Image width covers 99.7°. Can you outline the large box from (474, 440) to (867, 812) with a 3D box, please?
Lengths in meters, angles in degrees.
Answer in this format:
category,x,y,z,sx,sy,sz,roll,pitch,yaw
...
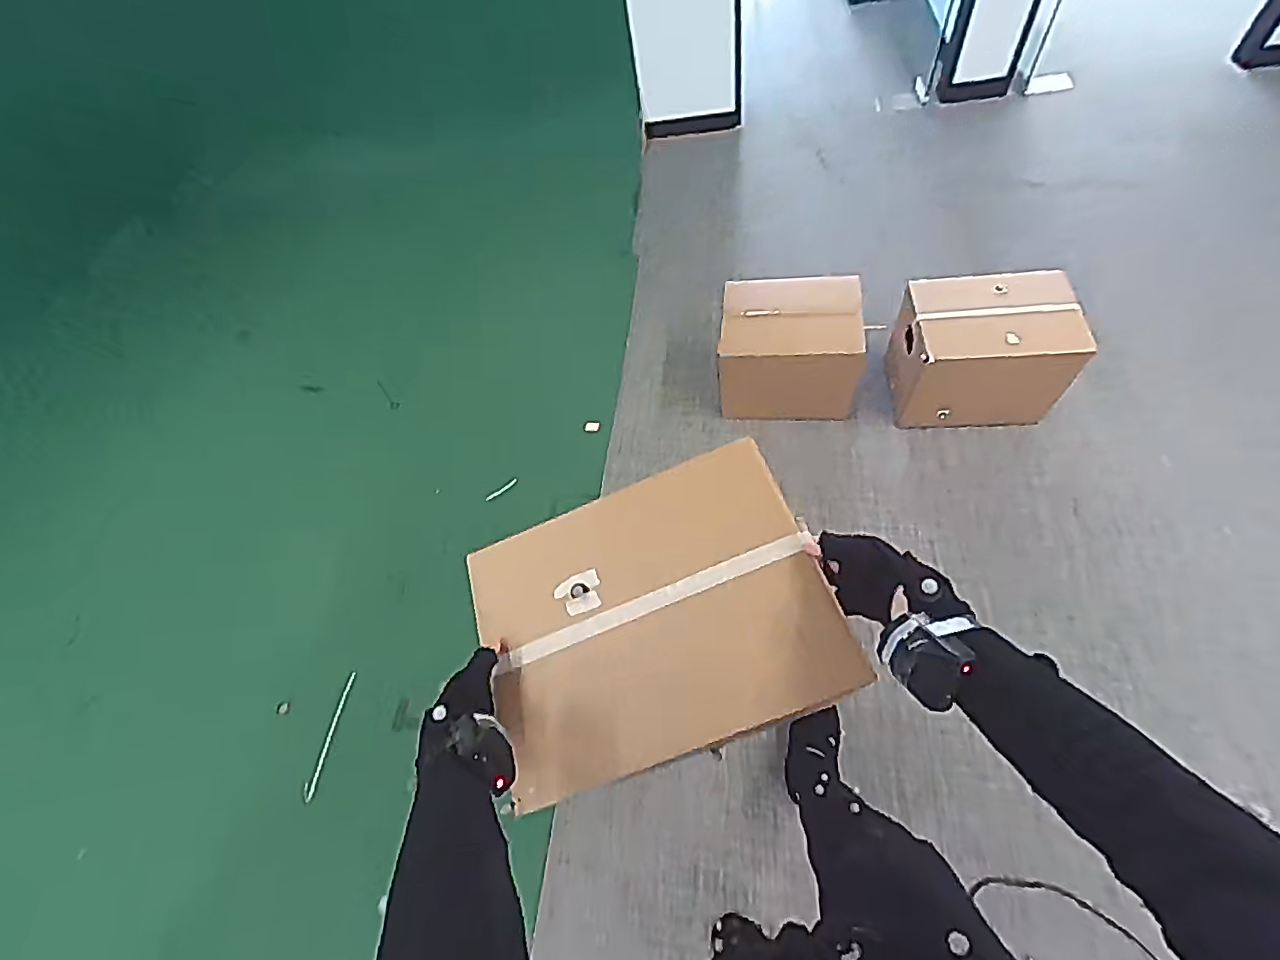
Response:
category,x,y,z,sx,sy,sz,roll,pitch,yaw
large box,0.045,0.211,0.762,0.408,0.320,0.320,-24,60,5
